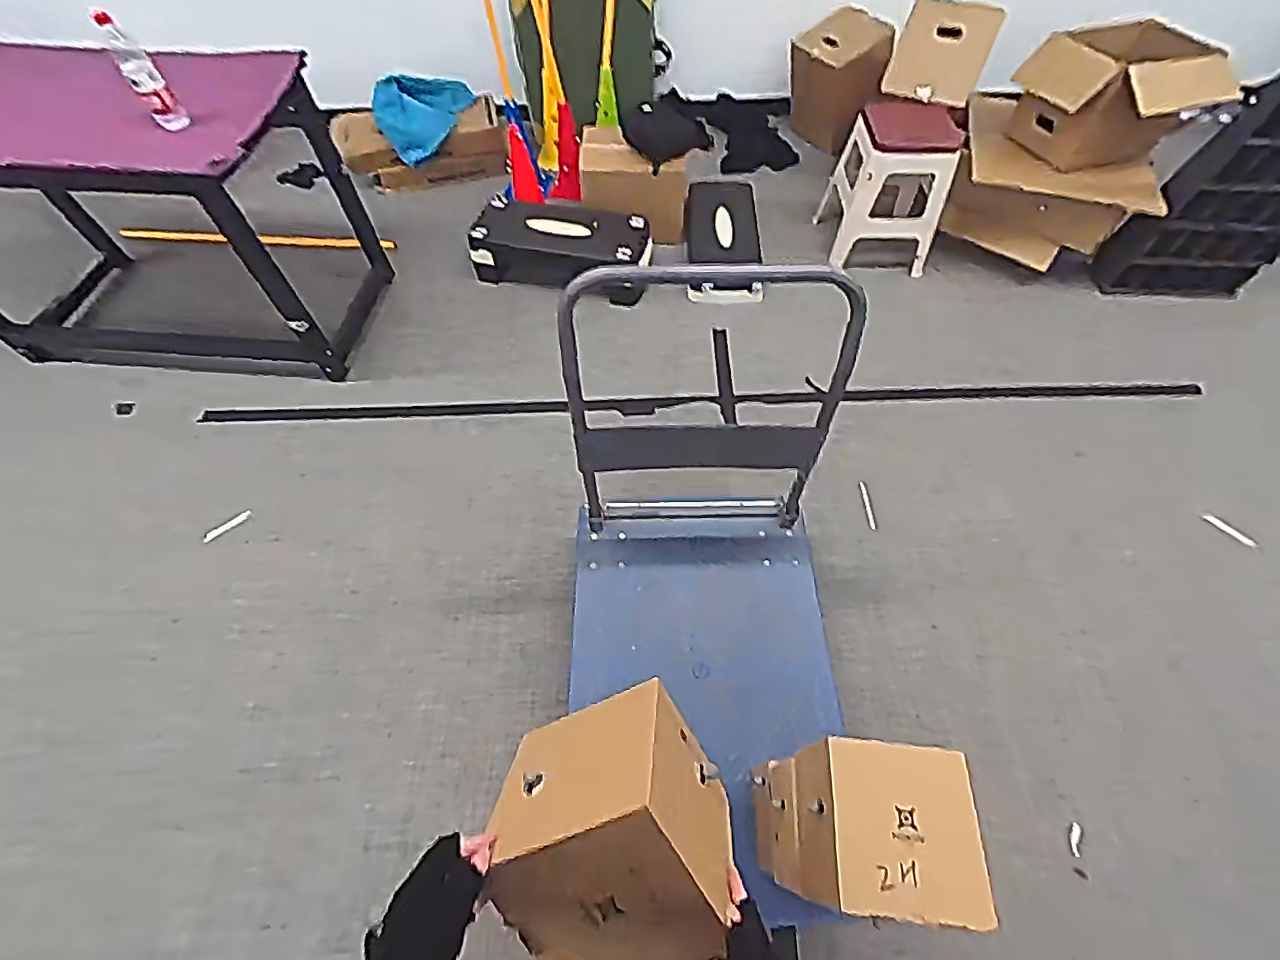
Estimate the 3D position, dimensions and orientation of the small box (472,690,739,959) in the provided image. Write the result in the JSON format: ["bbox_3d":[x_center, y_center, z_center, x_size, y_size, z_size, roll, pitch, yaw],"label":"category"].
[{"bbox_3d":[-0.022,0.344,0.526,0.179,0.176,0.168,-28,103,12],"label":"small box"}]

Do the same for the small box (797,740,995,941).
[{"bbox_3d":[0.301,0.444,0.682,0.168,0.176,0.179,6,58,4],"label":"small box"}]

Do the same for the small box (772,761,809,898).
[{"bbox_3d":[0.301,0.535,0.820,0.179,0.176,0.168,5,58,2],"label":"small box"}]
